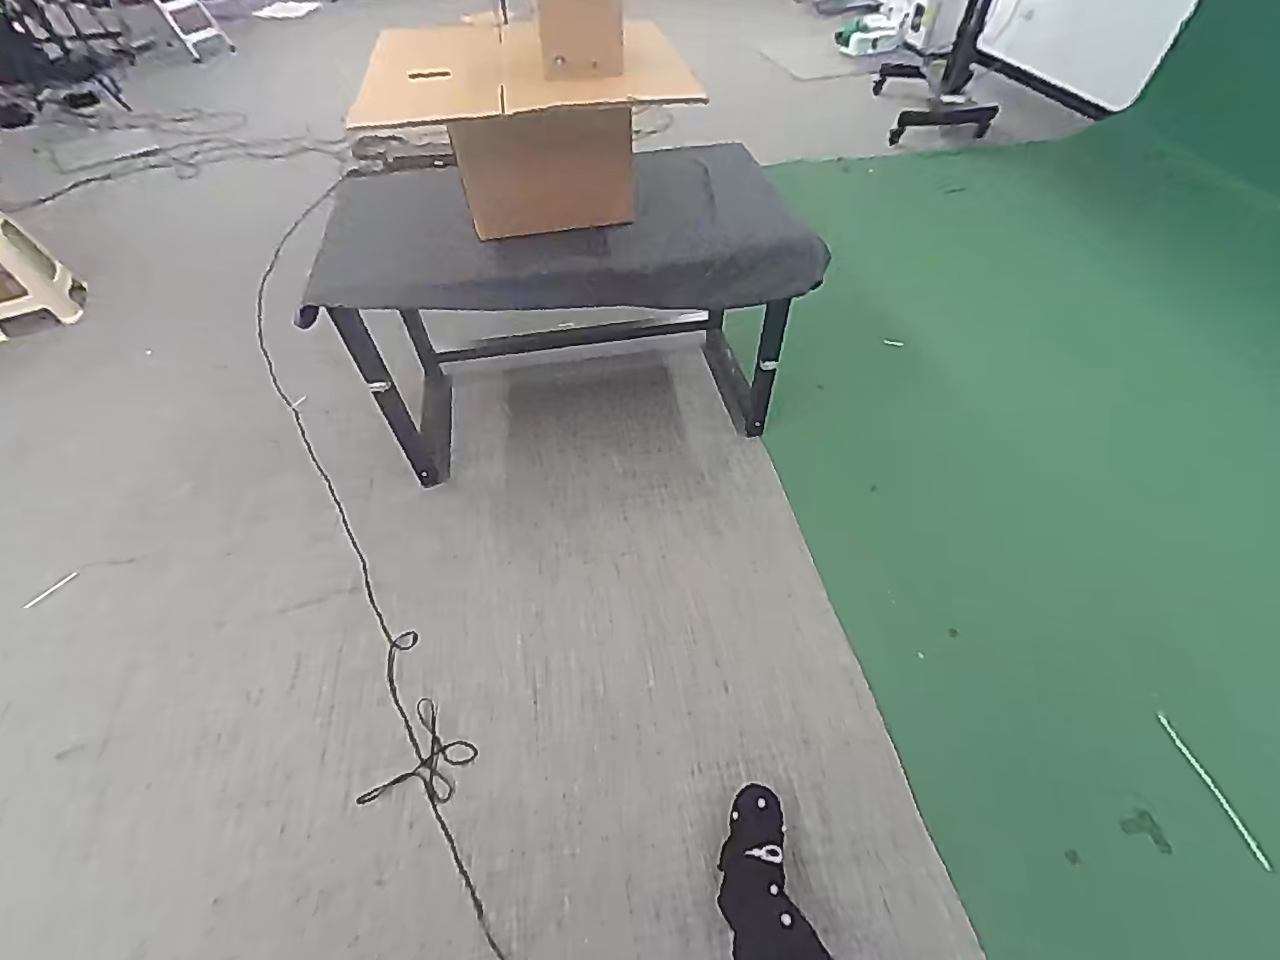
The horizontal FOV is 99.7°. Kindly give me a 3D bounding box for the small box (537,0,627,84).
[{"bbox_3d":[-0.121,-0.939,1.116,0.168,0.176,0.179,-8,51,-7],"label":"small box"}]
